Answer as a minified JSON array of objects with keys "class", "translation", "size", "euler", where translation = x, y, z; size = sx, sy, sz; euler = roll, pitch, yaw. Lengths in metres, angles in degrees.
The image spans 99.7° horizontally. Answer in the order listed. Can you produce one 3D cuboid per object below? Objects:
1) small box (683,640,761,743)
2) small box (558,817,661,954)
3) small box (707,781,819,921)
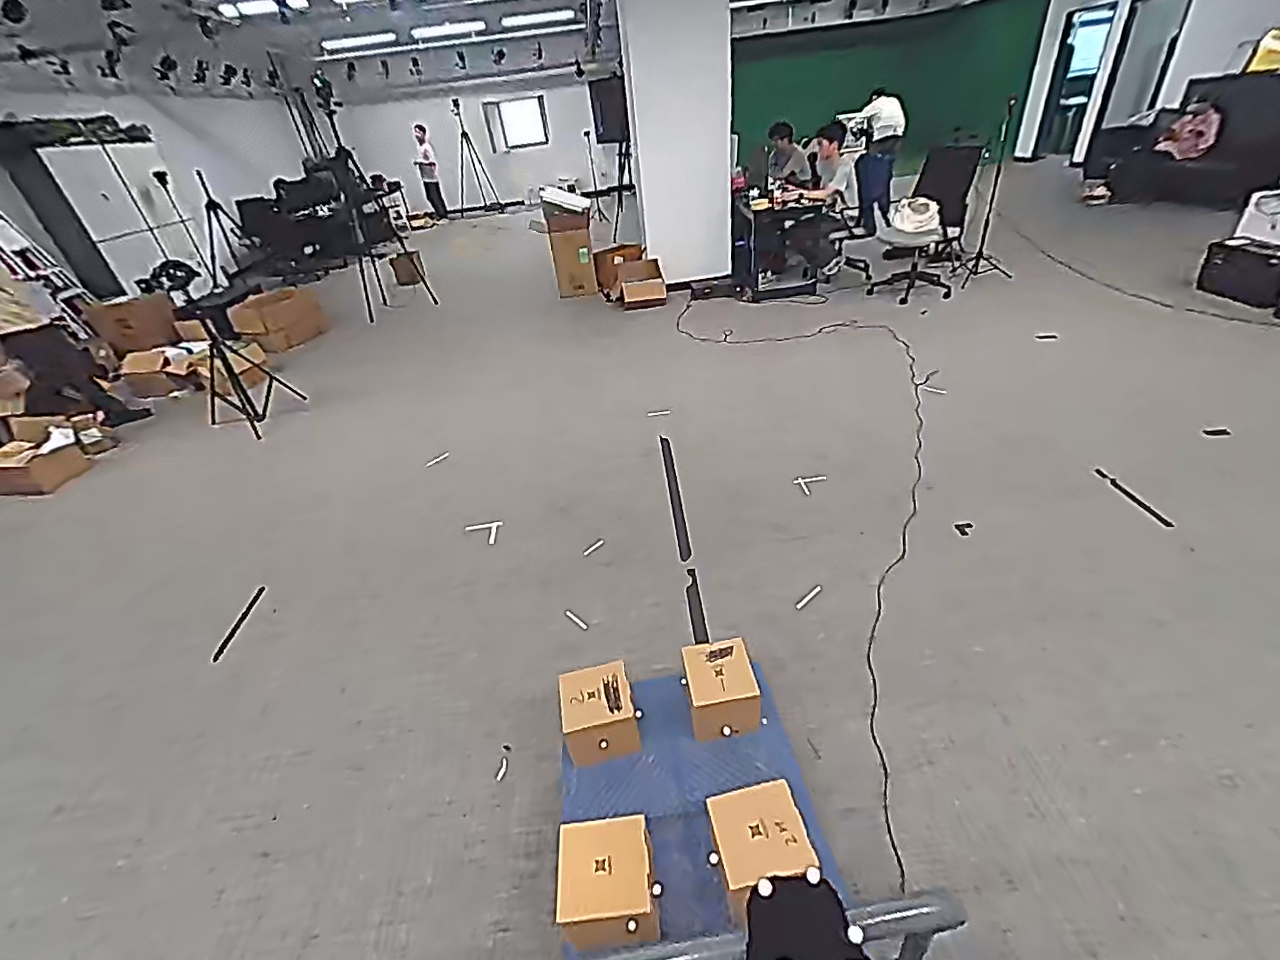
[{"class":"small box","translation":[0.209,0.550,1.407],"size":[0.168,0.176,0.179],"euler":[-9,35,-2]},{"class":"small box","translation":[-0.059,0.811,1.081],"size":[0.179,0.176,0.168],"euler":[-7,33,-1]},{"class":"small box","translation":[0.246,0.754,1.098],"size":[0.179,0.176,0.168],"euler":[-11,34,-4]}]
